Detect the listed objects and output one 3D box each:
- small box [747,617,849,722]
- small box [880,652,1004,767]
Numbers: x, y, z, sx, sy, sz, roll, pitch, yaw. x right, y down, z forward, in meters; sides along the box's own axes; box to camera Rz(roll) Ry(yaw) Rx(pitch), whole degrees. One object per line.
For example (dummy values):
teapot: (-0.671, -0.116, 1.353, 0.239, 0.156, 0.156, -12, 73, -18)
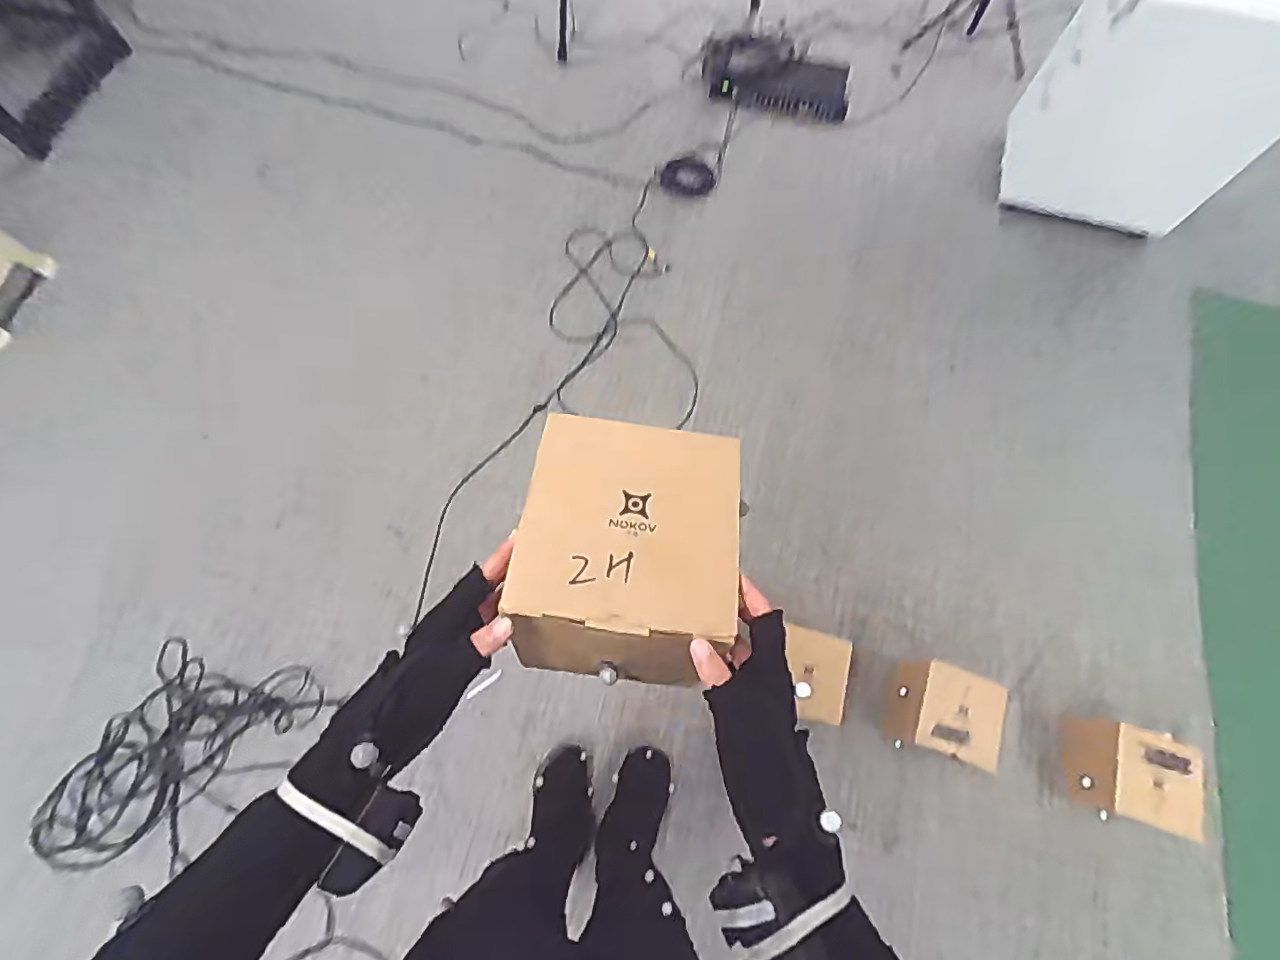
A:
small box: (0.347, 0.422, 1.212, 0.168, 0.176, 0.179, 14, 71, 5)
small box: (0.652, 0.497, 1.185, 0.168, 0.176, 0.179, 21, 71, 6)
